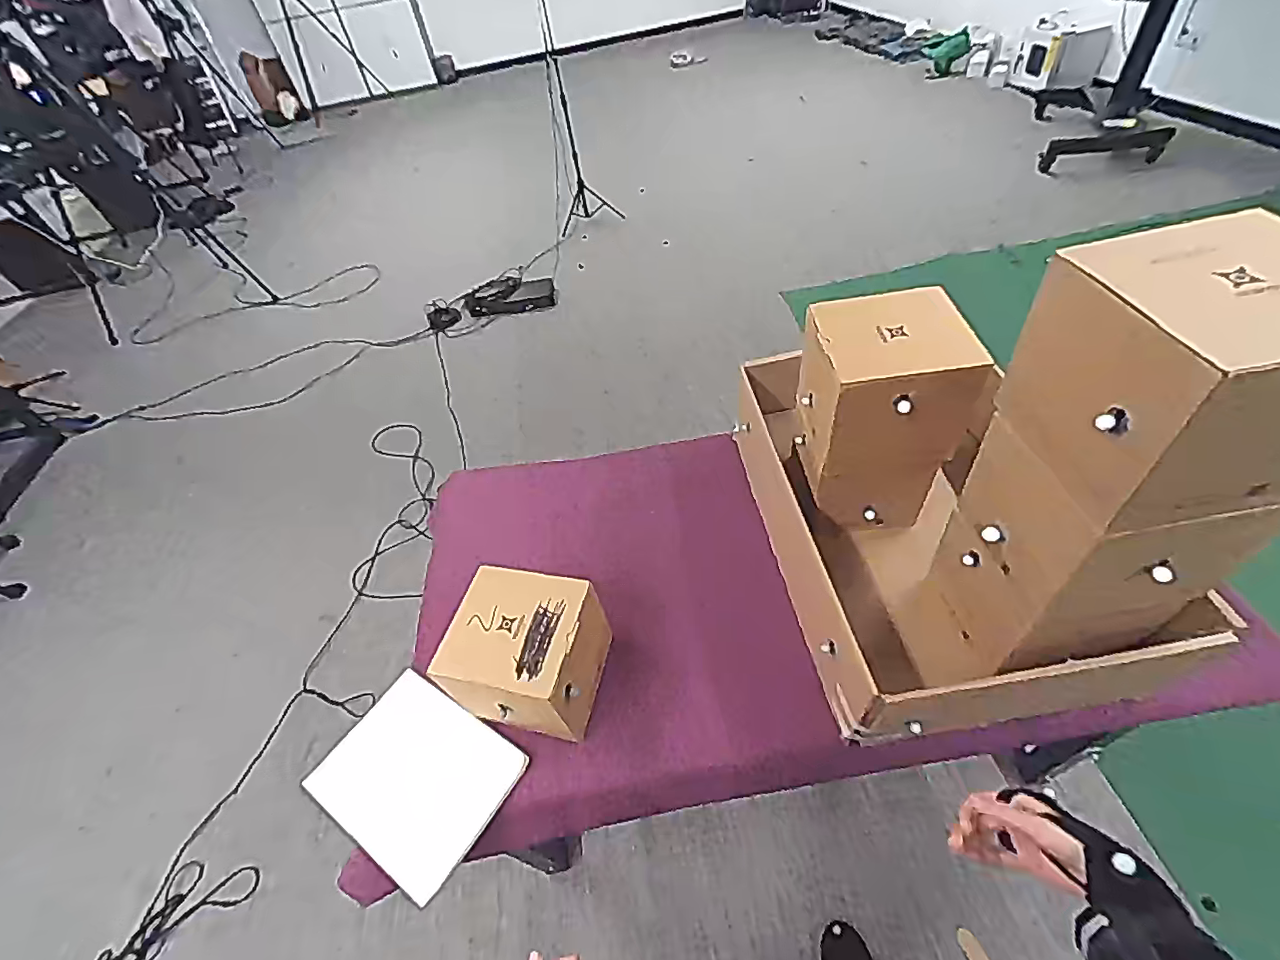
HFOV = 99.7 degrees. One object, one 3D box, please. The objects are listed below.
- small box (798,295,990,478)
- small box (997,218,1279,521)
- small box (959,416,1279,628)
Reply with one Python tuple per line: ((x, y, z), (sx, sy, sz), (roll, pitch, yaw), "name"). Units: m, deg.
((0.324, -0.121, 0.733), (0.179, 0.176, 0.168), (-7, 49, 6), "small box")
((0.440, -0.082, 0.444), (0.168, 0.176, 0.179), (-10, 46, 3), "small box")
((0.470, 0.031, 0.558), (0.179, 0.176, 0.168), (-11, 46, 4), "small box")
